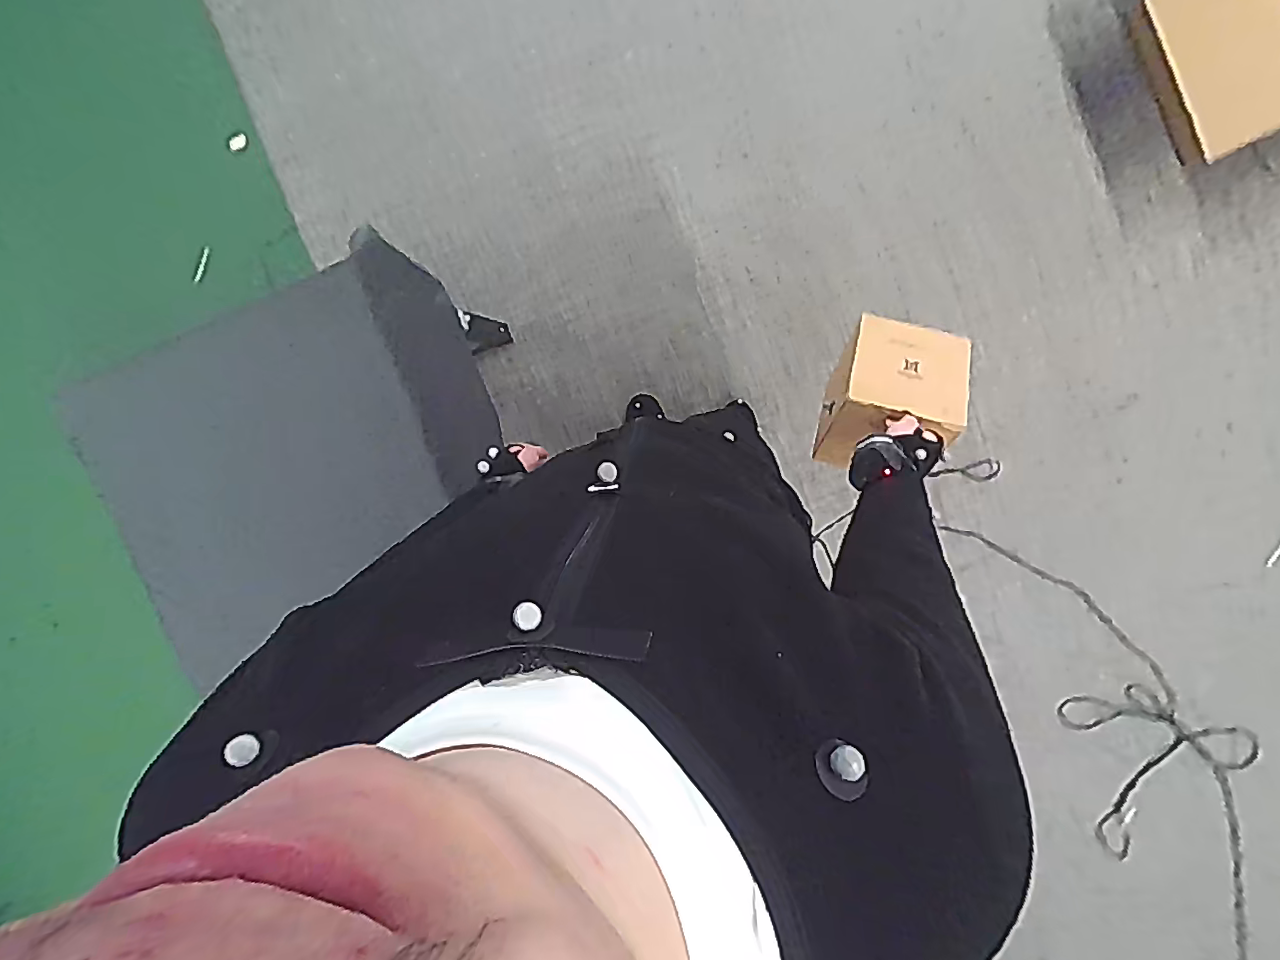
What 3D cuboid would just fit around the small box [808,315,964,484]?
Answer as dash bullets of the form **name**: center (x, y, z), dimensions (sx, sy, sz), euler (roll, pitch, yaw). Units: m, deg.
- **small box**: center (0.375, -0.118, 0.843), dimensions (0.168, 0.176, 0.179), euler (17, 62, 6)
